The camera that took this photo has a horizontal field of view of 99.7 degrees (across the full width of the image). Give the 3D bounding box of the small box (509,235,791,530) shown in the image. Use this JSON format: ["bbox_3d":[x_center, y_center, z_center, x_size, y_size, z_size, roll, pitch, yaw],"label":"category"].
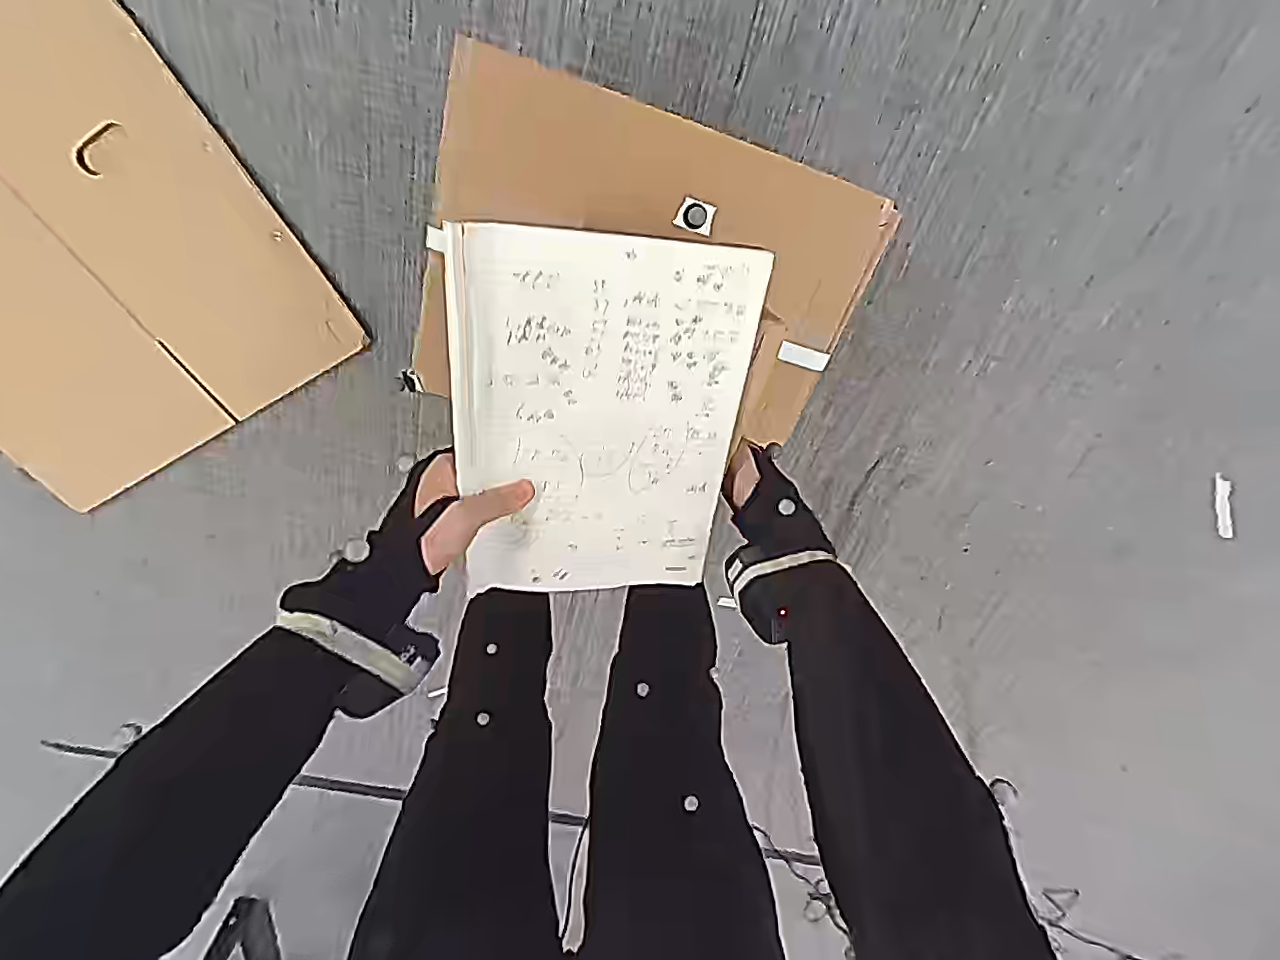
[{"bbox_3d":[-0.006,-0.087,0.455,0.168,0.176,0.179,12,117,-15],"label":"small box"}]
